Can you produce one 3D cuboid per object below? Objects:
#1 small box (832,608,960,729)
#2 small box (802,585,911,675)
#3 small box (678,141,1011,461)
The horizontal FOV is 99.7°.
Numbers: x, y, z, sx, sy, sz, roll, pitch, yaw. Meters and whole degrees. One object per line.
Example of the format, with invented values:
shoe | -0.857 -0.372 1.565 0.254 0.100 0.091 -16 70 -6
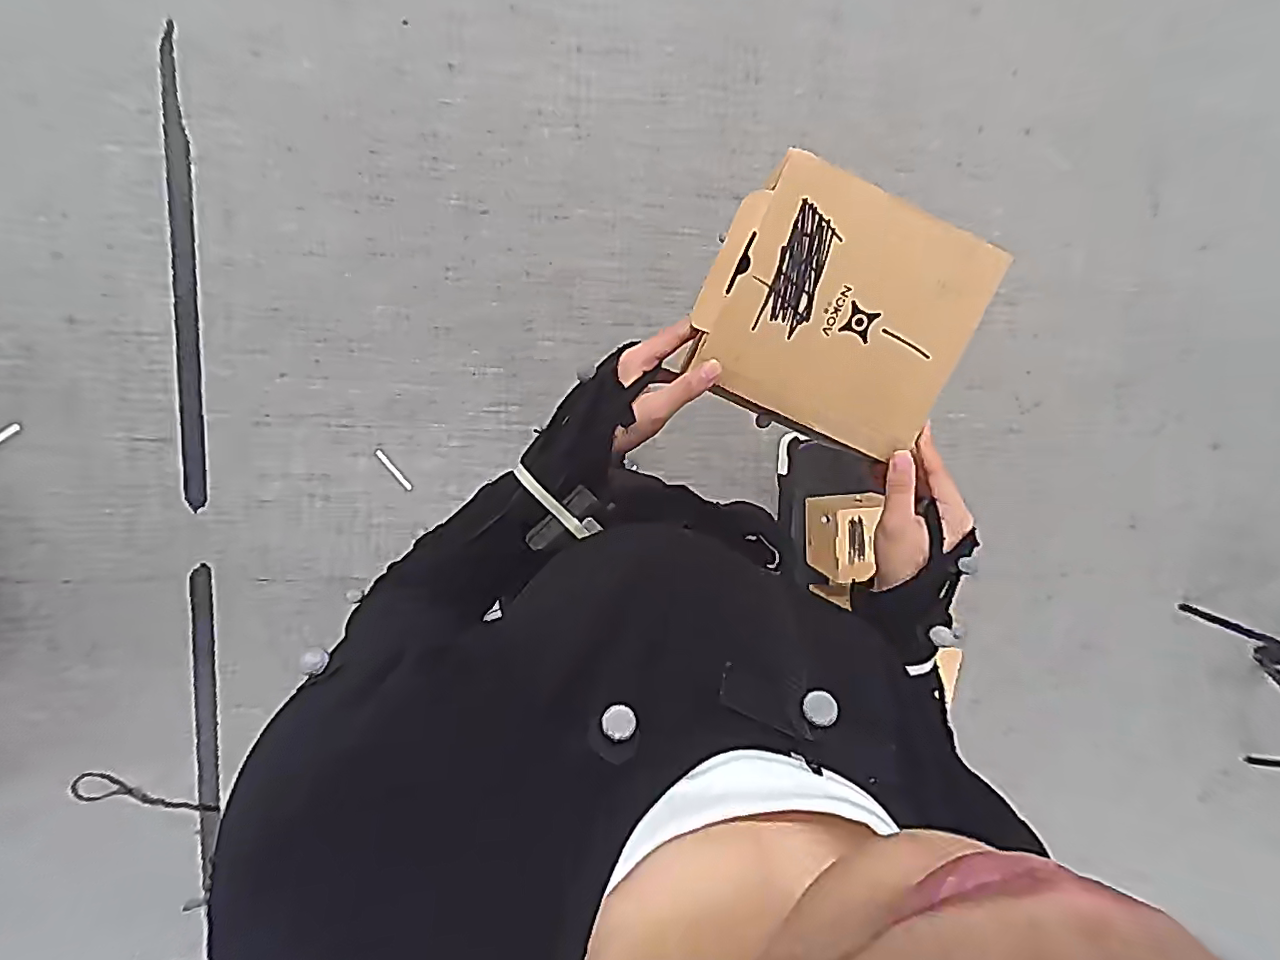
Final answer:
small box | 0.521 0.385 1.126 0.168 0.176 0.179 8 96 -6
small box | 0.505 0.355 1.286 0.179 0.176 0.168 5 96 -7
small box | 0.143 -0.132 0.454 0.179 0.176 0.168 24 100 -6
